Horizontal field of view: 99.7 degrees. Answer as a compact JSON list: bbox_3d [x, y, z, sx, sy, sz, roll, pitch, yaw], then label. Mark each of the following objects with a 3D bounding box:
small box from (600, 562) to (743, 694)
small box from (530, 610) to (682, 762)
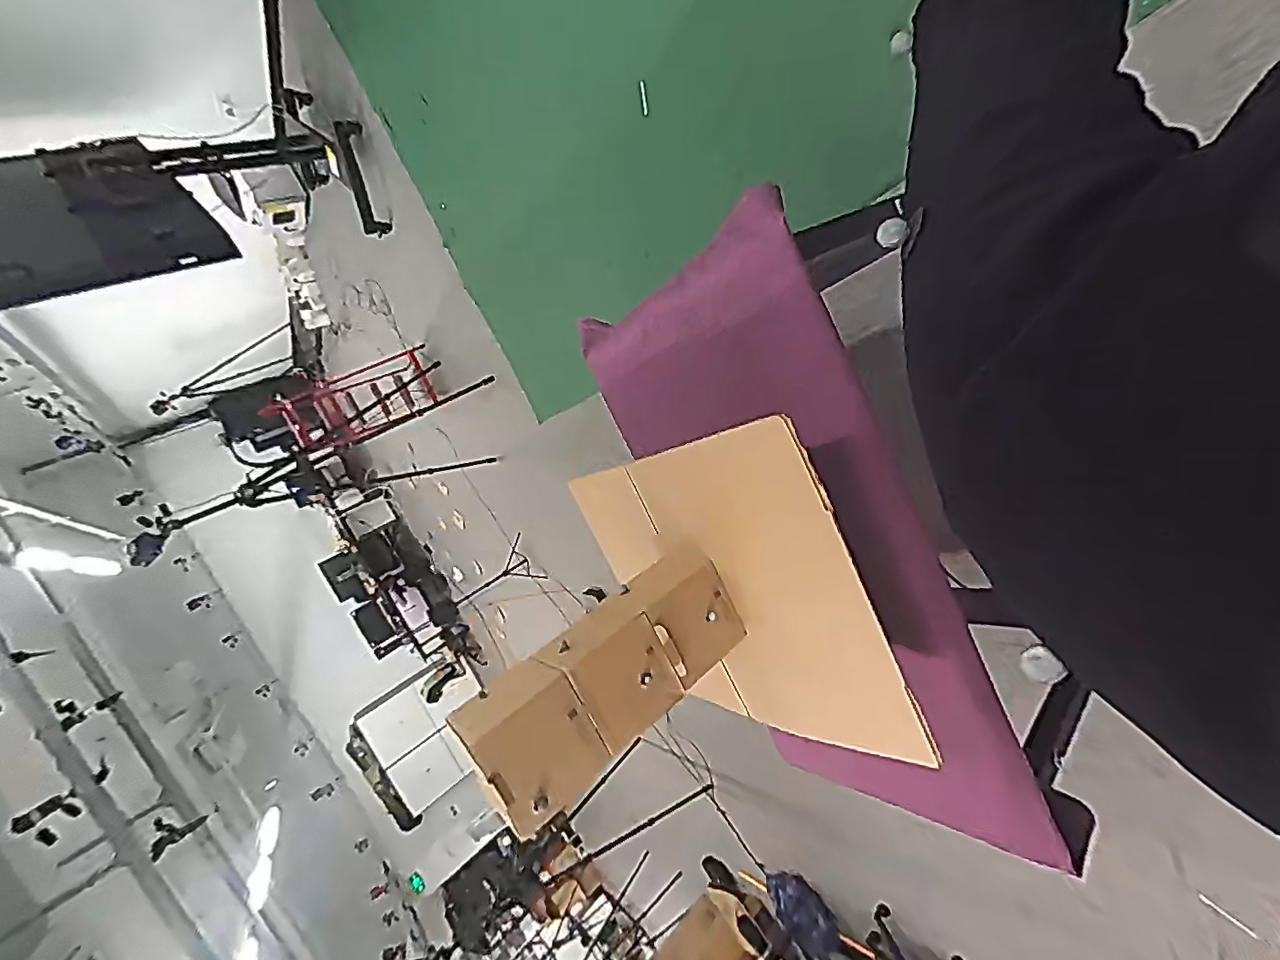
[{"bbox_3d":[0.061,0.268,1.024,0.179,0.176,0.168,-13,107,57],"label":"small box"},{"bbox_3d":[-0.058,0.342,0.941,0.179,0.176,0.168,-16,103,58],"label":"small box"}]
